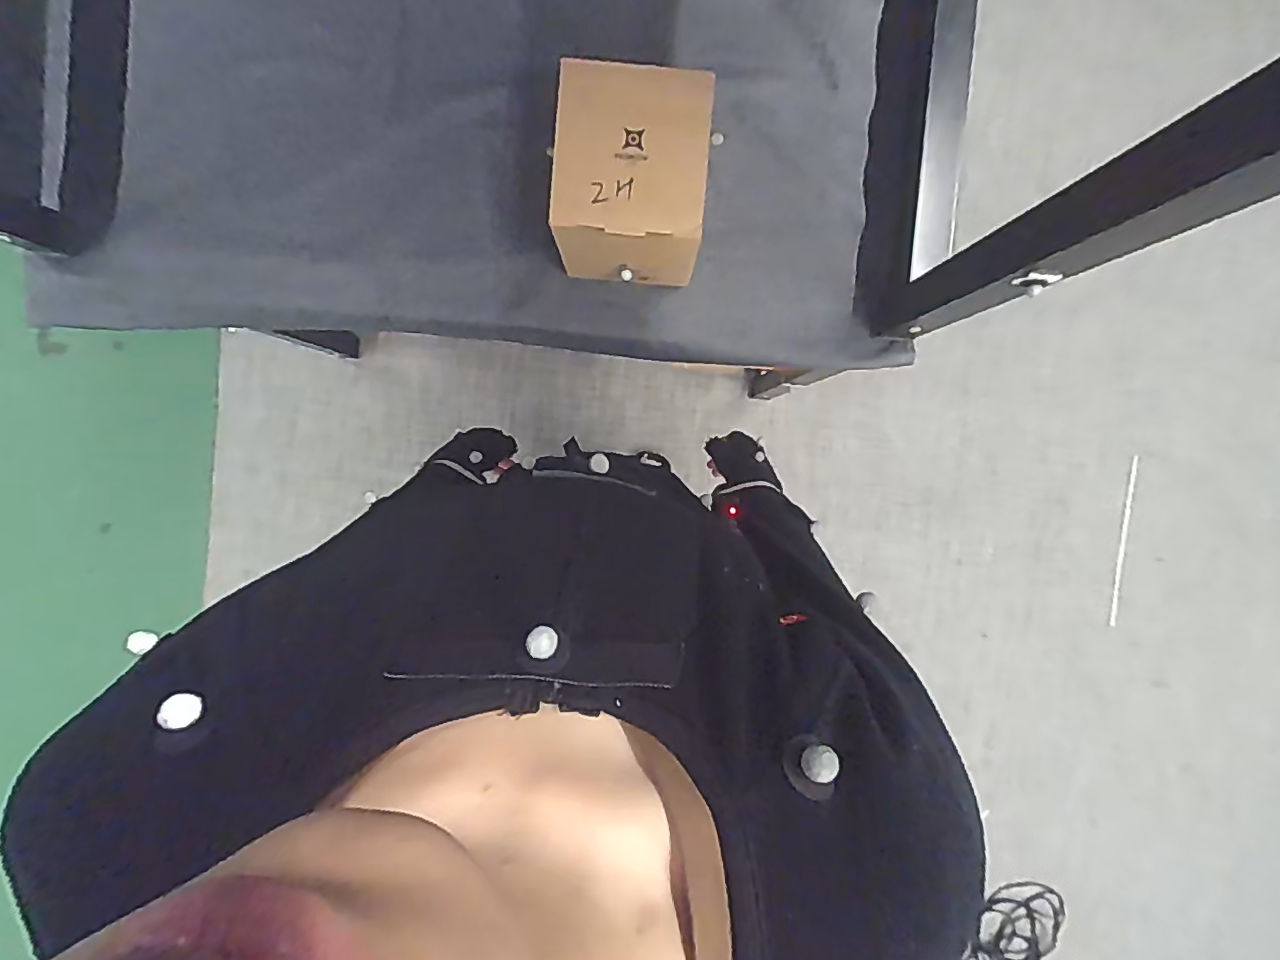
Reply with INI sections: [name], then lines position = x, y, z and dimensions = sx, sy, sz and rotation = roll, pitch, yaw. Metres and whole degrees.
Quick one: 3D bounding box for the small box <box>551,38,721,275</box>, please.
[small box]
position = -0.006, -0.367, 0.644
dimensions = 0.168, 0.176, 0.179
rotation = 5, 92, 0
